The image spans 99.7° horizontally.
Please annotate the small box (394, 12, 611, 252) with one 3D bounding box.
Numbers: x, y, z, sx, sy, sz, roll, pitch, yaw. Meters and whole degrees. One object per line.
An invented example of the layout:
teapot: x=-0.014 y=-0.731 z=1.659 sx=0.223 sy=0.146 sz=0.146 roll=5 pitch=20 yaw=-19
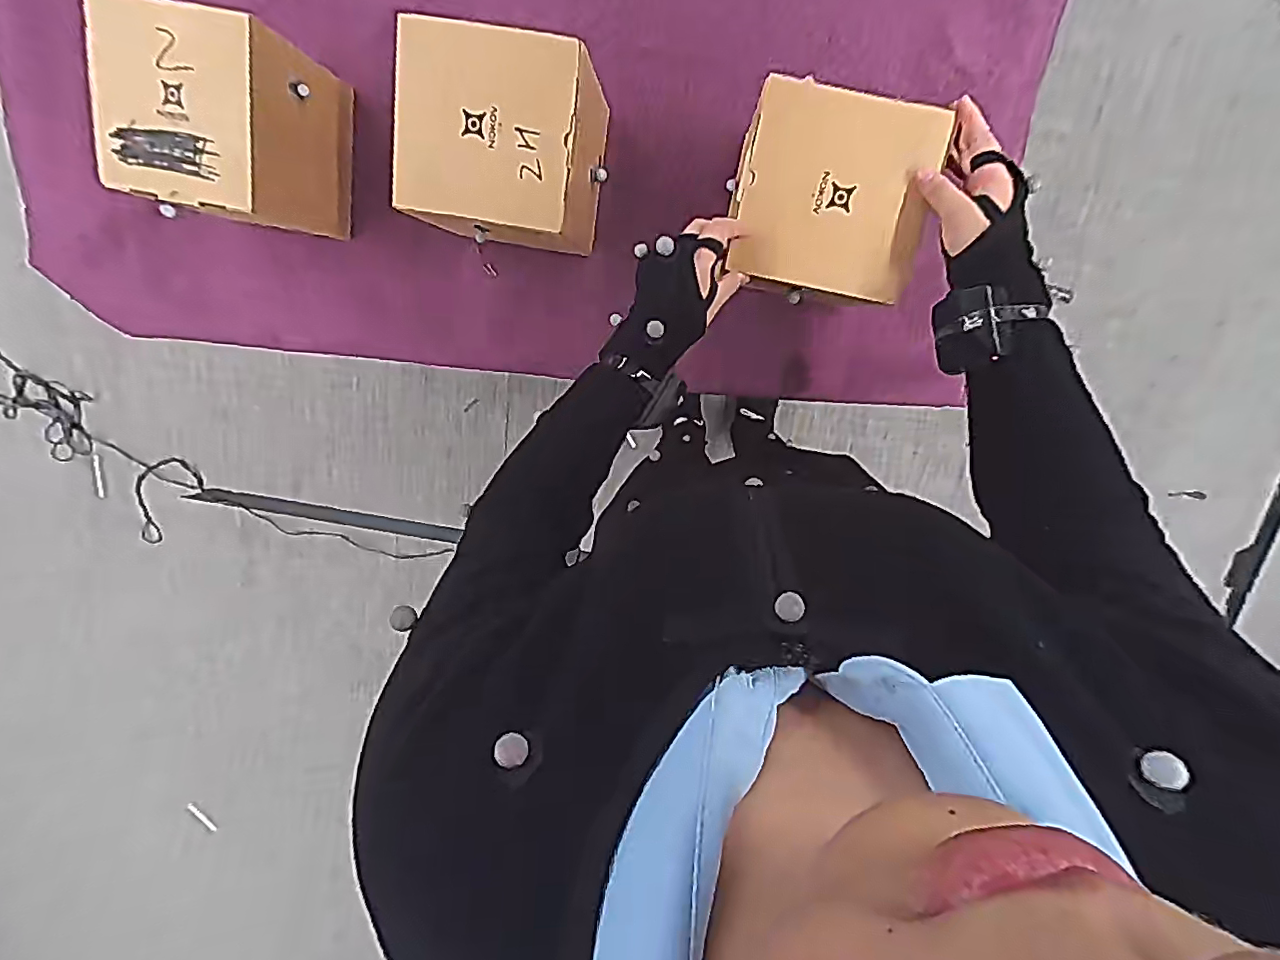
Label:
small box: x=-0.138 y=-0.355 z=0.587 sx=0.179 sy=0.176 sz=0.168 roll=11 pitch=106 yaw=2
